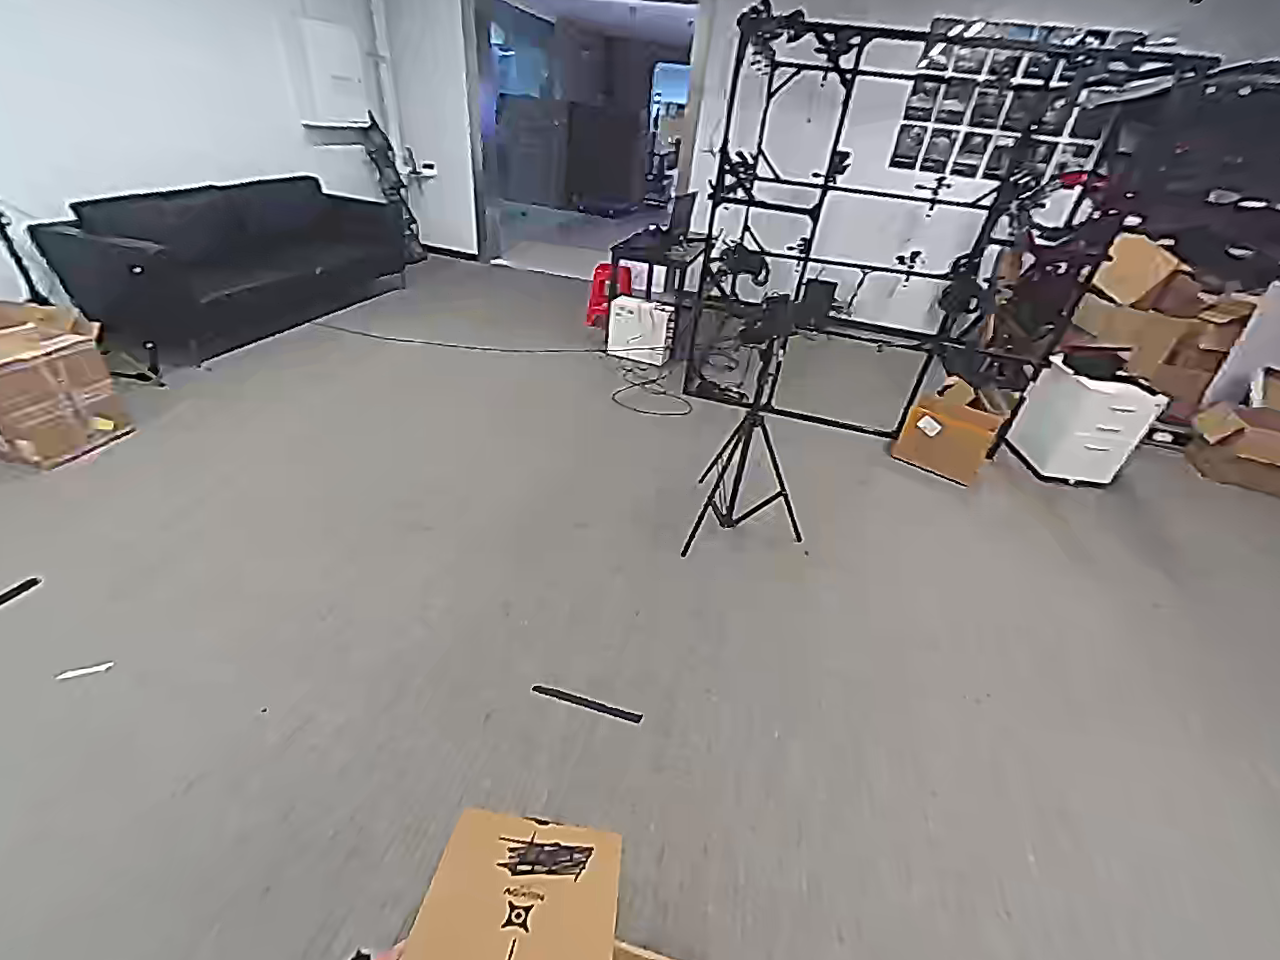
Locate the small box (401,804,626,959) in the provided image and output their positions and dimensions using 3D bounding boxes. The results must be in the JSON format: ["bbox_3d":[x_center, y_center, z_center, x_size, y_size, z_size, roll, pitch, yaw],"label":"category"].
[{"bbox_3d":[-0.111,0.438,0.480,0.168,0.176,0.179,10,14,0],"label":"small box"}]
